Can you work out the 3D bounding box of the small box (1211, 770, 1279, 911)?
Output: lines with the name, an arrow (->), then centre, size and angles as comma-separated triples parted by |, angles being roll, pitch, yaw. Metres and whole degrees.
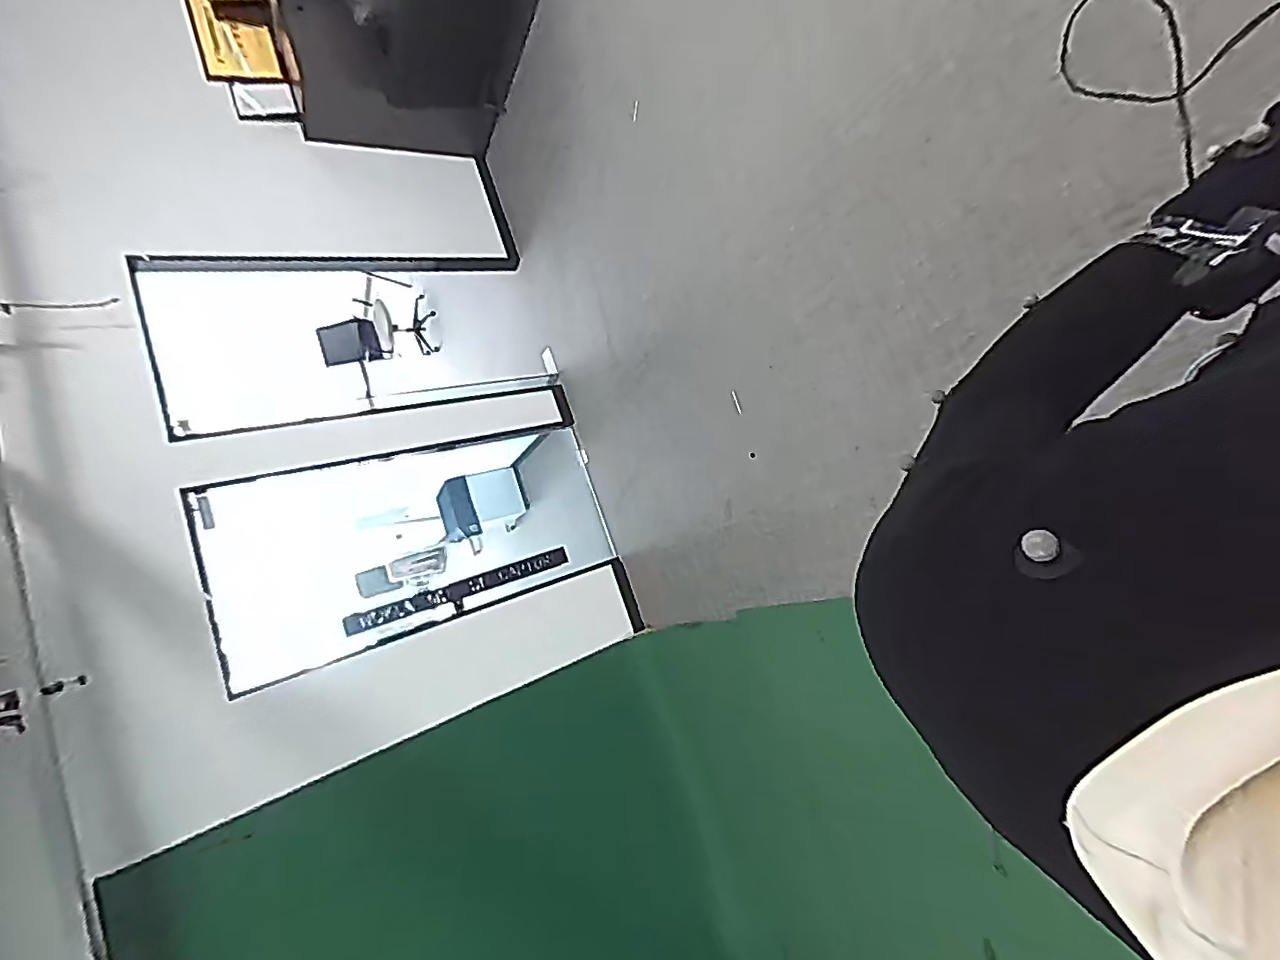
small box -> 1.233, 0.690, 1.019 | 0.168, 0.176, 0.179 | -17, 88, 57
